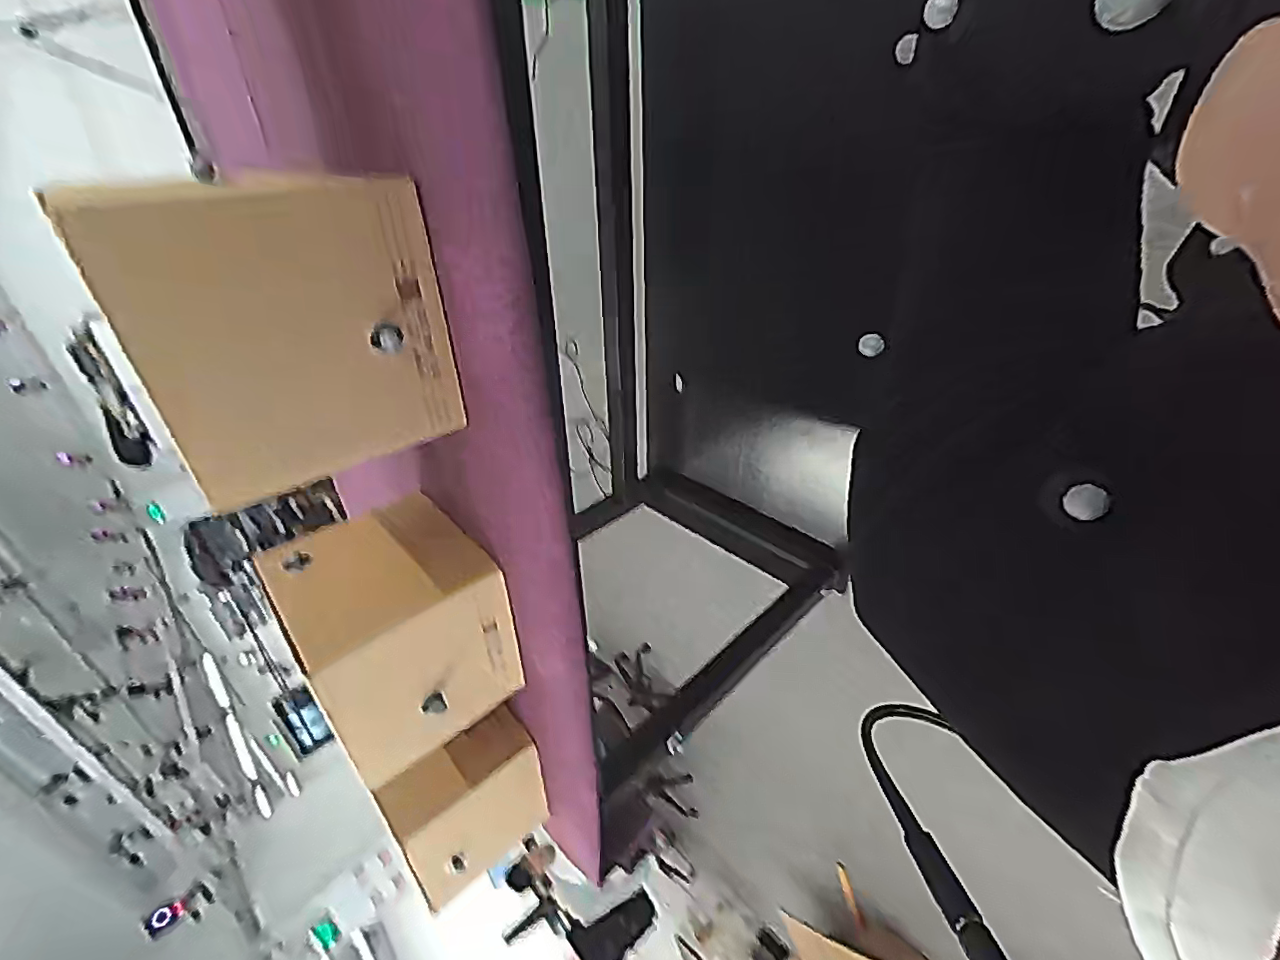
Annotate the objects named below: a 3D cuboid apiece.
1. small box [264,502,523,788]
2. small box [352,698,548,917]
[{"bbox_3d":[-0.228,0.145,0.535,0.179,0.176,0.168,31,134,39],"label":"small box"},{"bbox_3d":[-0.231,0.383,0.686,0.168,0.176,0.179,29,132,39],"label":"small box"}]
